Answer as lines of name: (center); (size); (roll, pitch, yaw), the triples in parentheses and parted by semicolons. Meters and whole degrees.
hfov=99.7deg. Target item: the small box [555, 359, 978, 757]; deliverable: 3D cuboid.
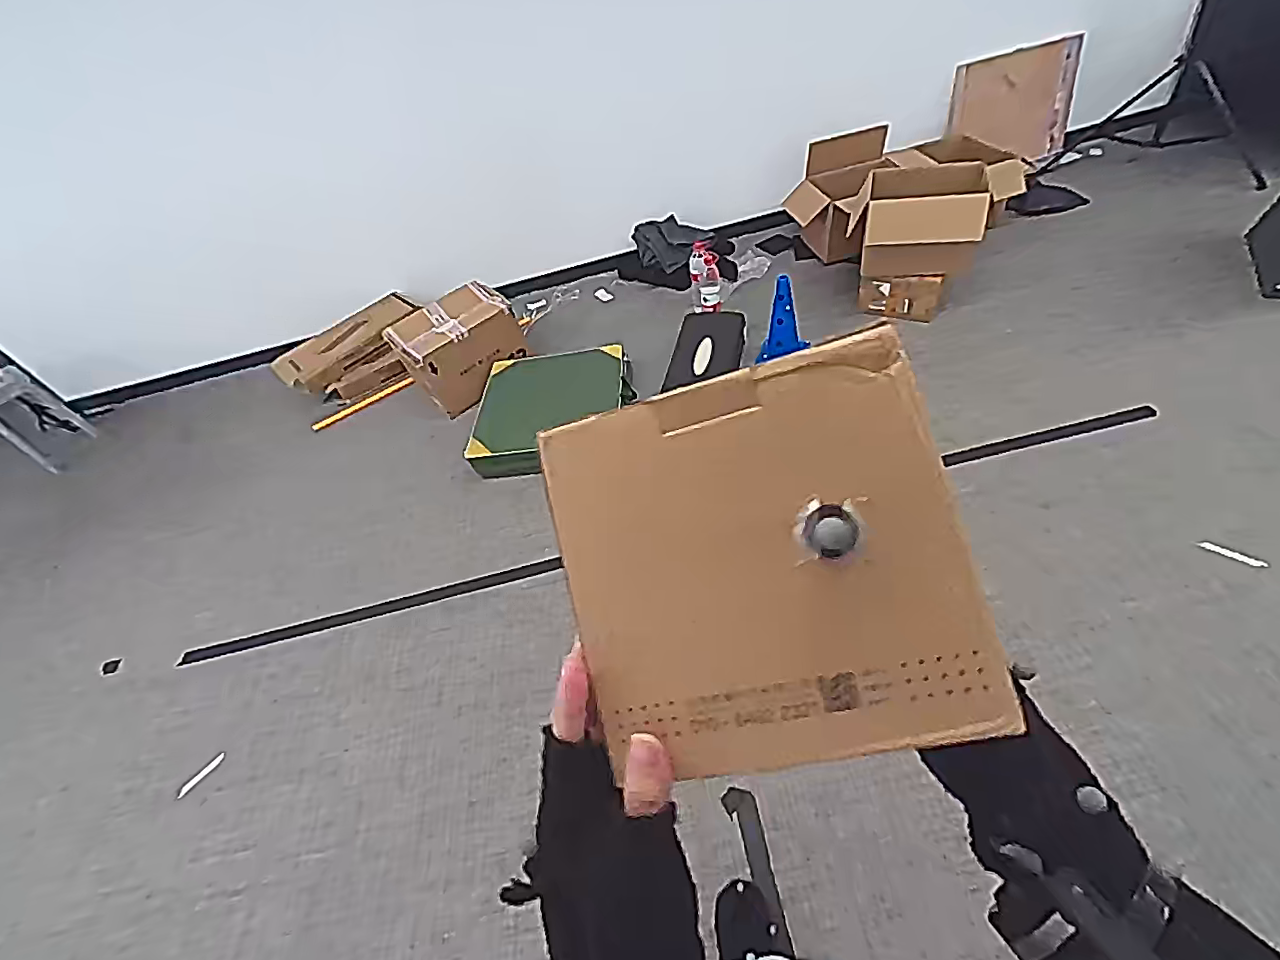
small box: (0.072, 0.052, 0.330); (0.168, 0.179, 0.176); (-16, 82, 13)
